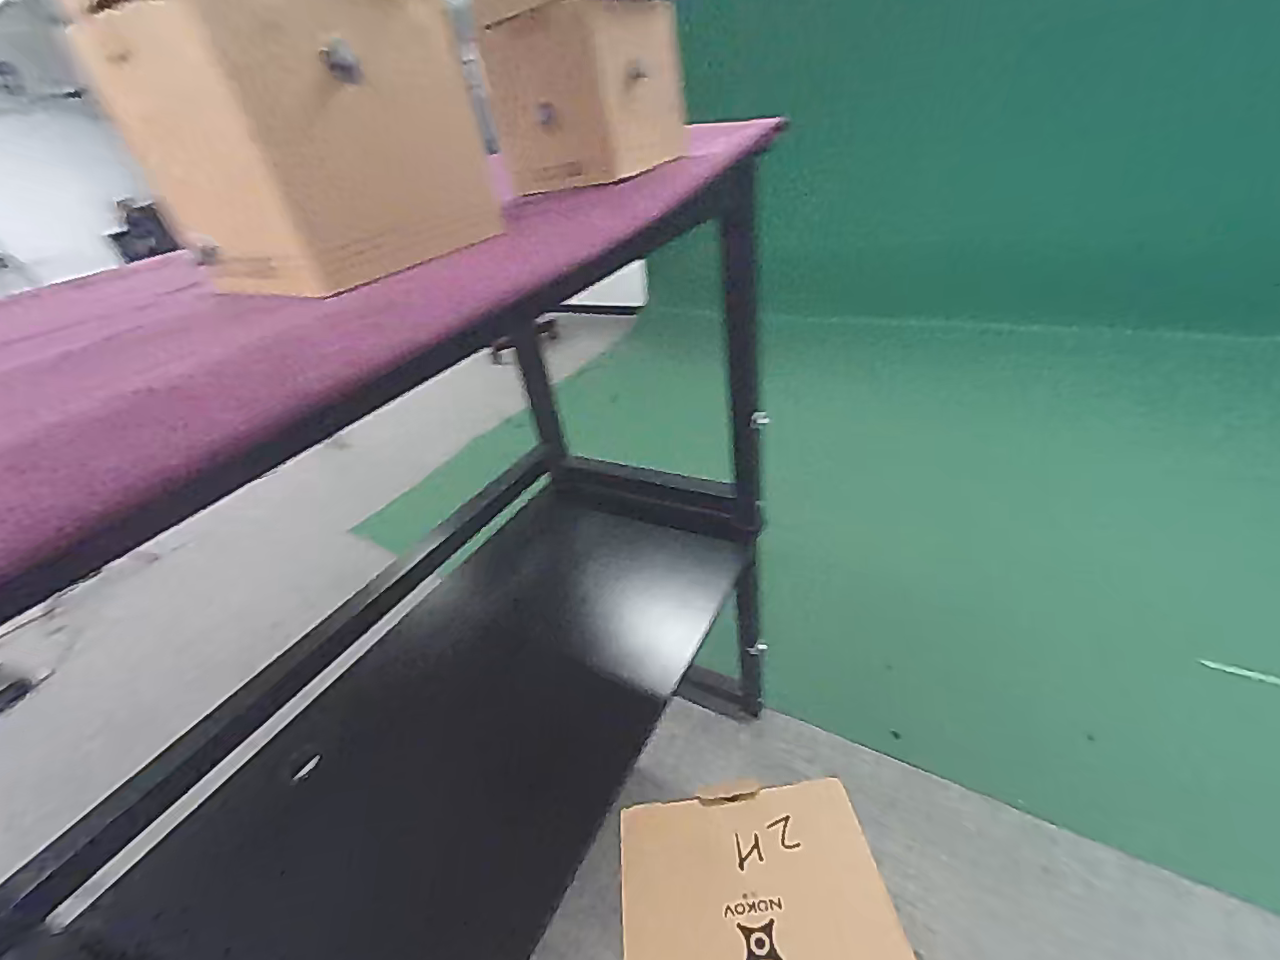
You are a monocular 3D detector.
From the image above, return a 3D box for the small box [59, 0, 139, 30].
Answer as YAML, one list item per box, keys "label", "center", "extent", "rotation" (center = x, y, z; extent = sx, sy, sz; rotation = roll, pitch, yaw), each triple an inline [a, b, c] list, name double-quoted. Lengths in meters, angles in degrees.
- label: "small box"
  center: [-0.269, -0.375, 0.309]
  extent: [0.168, 0.176, 0.179]
  rotation: [20, 46, 37]

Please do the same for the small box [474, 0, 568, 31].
- label: "small box"
  center: [-0.087, -0.591, 0.565]
  extent: [0.168, 0.176, 0.179]
  rotation: [10, 40, 30]

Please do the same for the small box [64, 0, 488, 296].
- label: "small box"
  center: [-0.244, -0.246, 0.405]
  extent: [0.168, 0.176, 0.179]
  rotation: [13, 40, 29]

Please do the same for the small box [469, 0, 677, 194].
- label: "small box"
  center: [-0.068, -0.462, 0.663]
  extent: [0.168, 0.176, 0.179]
  rotation: [11, 41, 30]
